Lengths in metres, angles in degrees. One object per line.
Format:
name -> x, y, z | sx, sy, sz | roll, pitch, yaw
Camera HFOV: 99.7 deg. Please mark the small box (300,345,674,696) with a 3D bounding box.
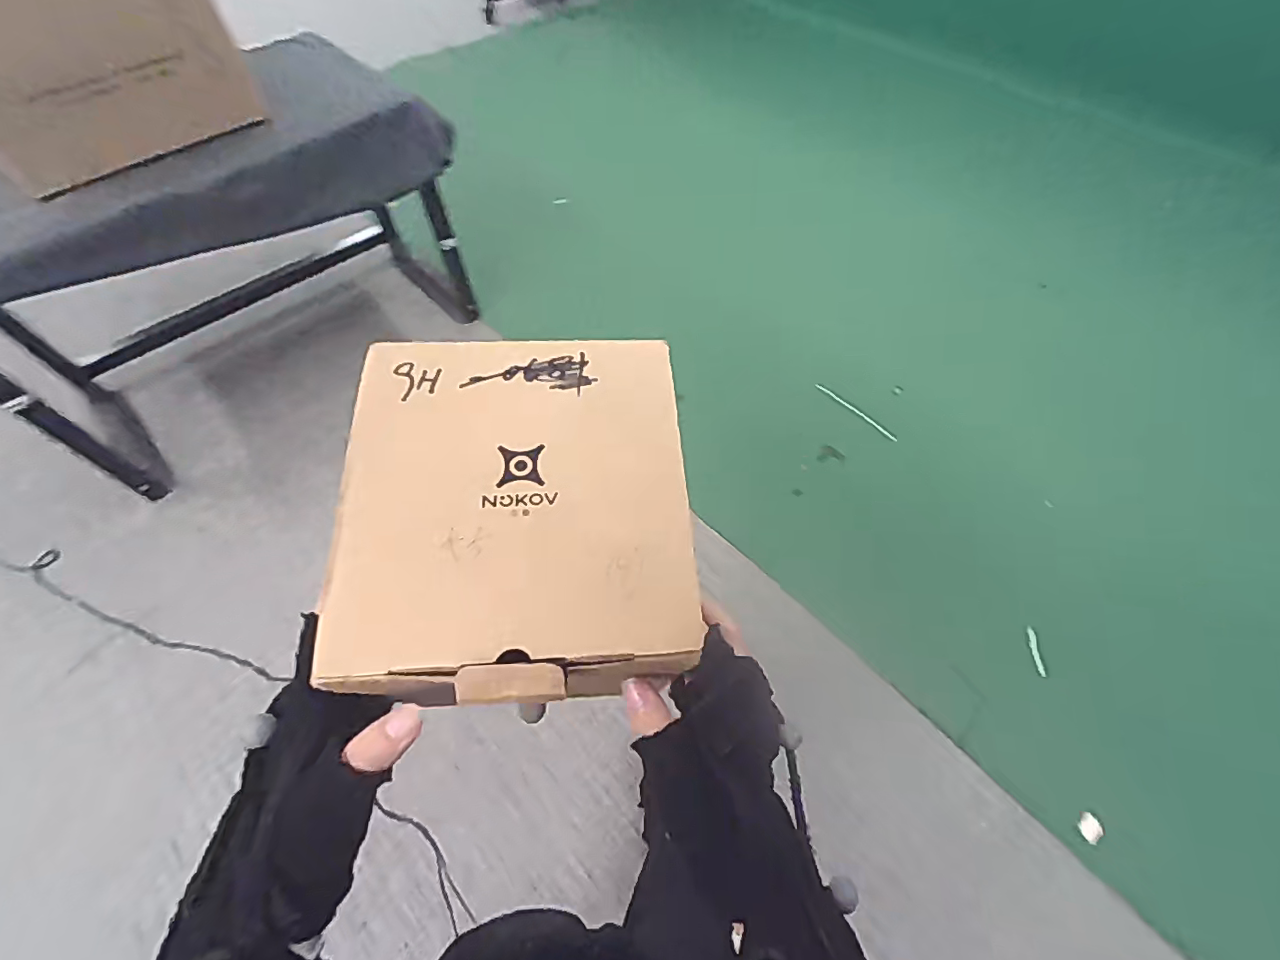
small box -> -0.073, 0.038, 0.341 | 0.168, 0.176, 0.179 | -2, 64, -5
